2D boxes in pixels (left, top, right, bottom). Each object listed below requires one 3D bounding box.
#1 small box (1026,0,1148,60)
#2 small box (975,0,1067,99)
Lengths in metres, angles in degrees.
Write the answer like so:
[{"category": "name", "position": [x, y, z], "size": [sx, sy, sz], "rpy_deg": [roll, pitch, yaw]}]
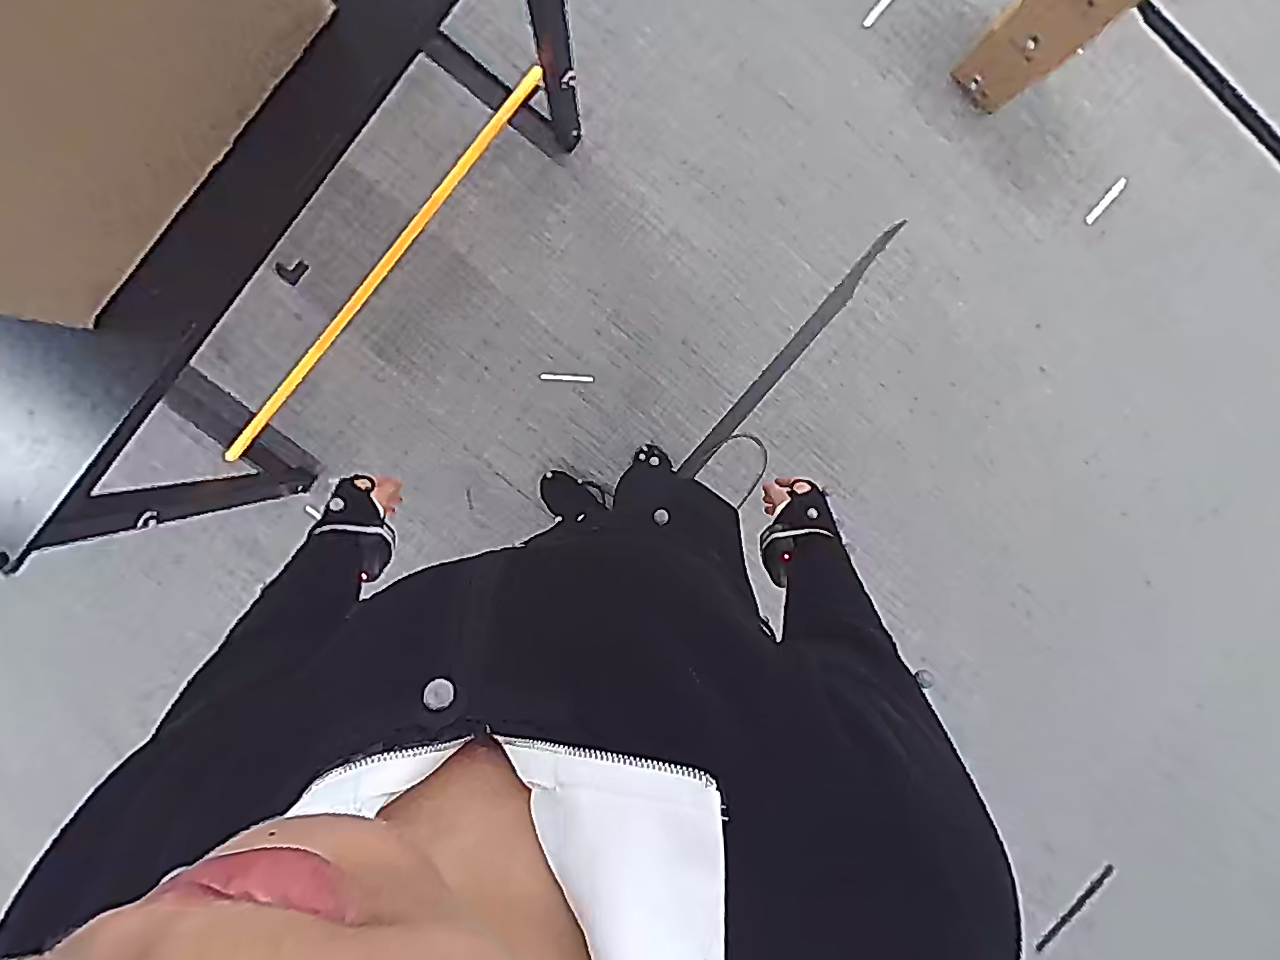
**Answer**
[{"category": "small box", "position": [0.950, -1.029, 1.103], "size": [0.168, 0.176, 0.179], "rpy_deg": [40, 93, -5]}, {"category": "small box", "position": [0.940, -1.059, 1.265], "size": [0.168, 0.176, 0.179], "rpy_deg": [39, 94, -6]}]
